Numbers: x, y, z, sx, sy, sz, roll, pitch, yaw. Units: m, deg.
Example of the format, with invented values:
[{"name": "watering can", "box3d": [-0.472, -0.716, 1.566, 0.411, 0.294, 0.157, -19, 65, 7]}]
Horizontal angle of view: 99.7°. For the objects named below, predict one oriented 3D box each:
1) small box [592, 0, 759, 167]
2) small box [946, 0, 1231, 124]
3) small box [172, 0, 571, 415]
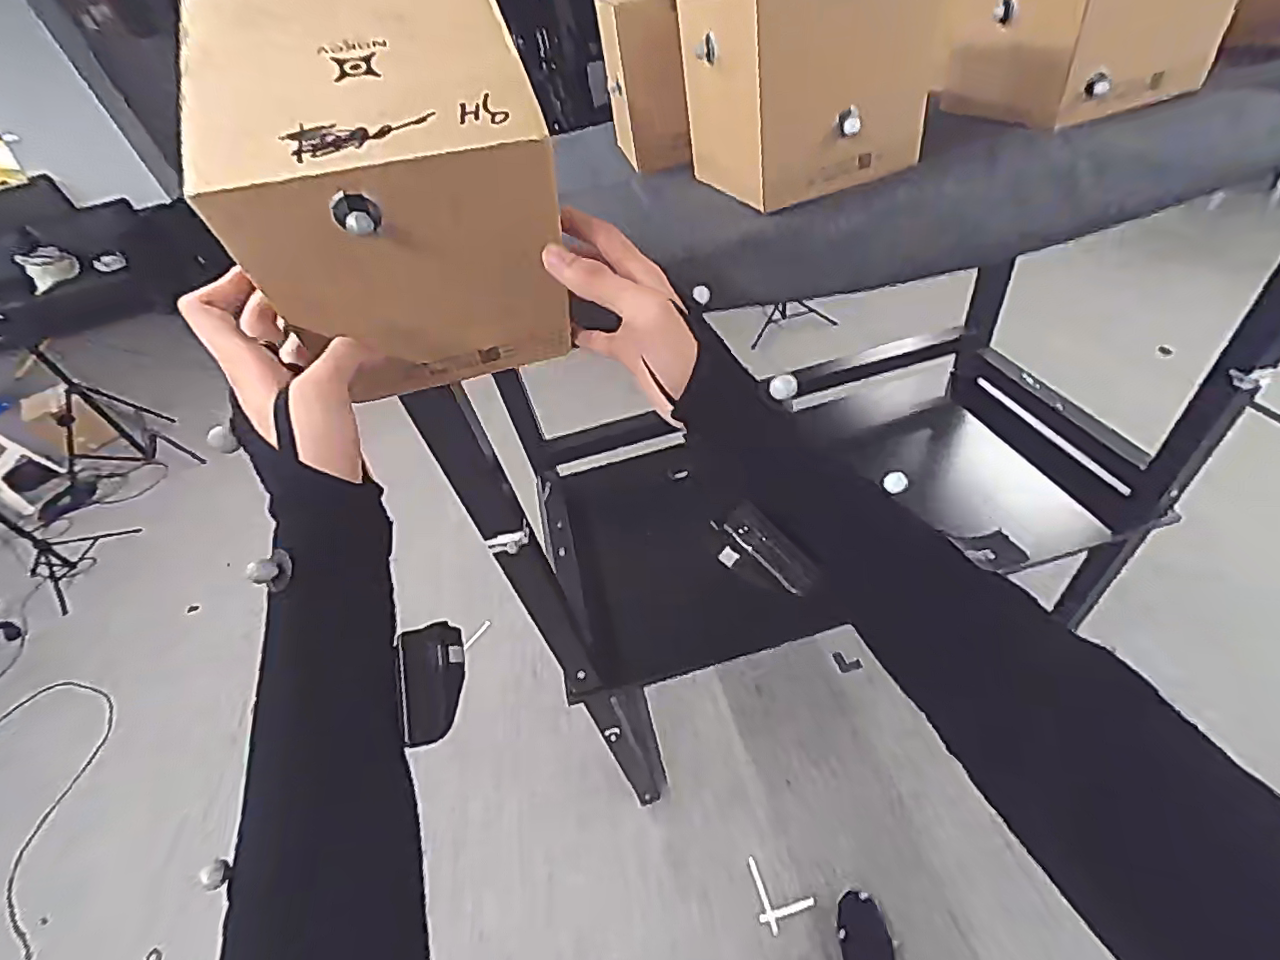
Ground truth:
[{"name": "small box", "box3d": [0.045, -0.512, 0.675, 0.168, 0.176, 0.179, -14, 45, -2]}, {"name": "small box", "box3d": [0.441, -0.474, 0.534, 0.168, 0.176, 0.179, -18, 42, -3]}, {"name": "small box", "box3d": [-0.147, -0.170, 0.345, 0.168, 0.176, 0.179, -16, 67, -10]}]
